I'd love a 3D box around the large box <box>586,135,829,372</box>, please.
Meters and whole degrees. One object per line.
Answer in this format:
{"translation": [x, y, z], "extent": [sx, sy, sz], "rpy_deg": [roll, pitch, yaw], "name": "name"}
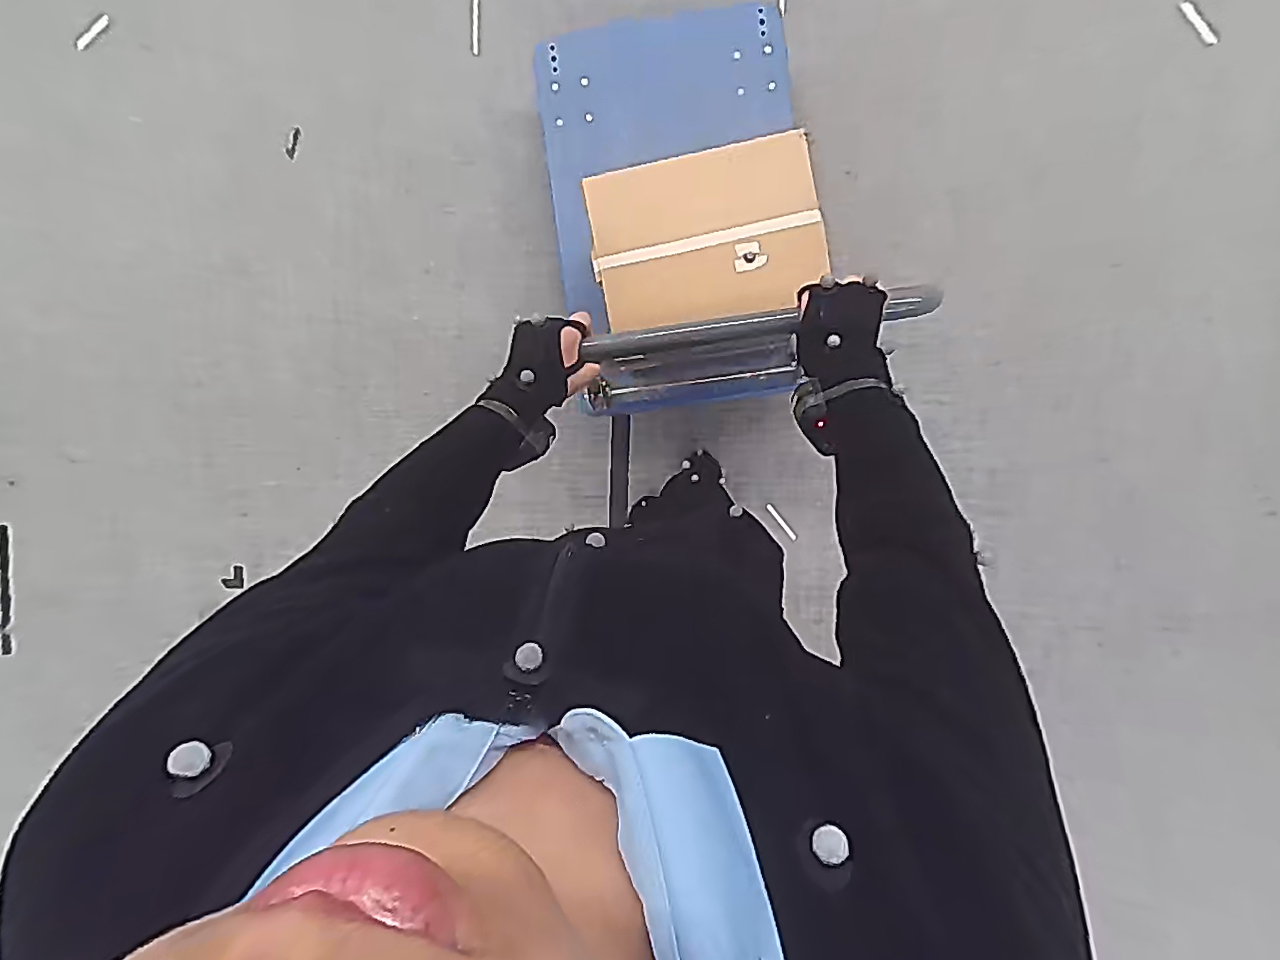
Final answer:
{"translation": [0.127, -0.438, 1.134], "extent": [0.408, 0.320, 0.320], "rpy_deg": [-11, 93, 3], "name": "large box"}
